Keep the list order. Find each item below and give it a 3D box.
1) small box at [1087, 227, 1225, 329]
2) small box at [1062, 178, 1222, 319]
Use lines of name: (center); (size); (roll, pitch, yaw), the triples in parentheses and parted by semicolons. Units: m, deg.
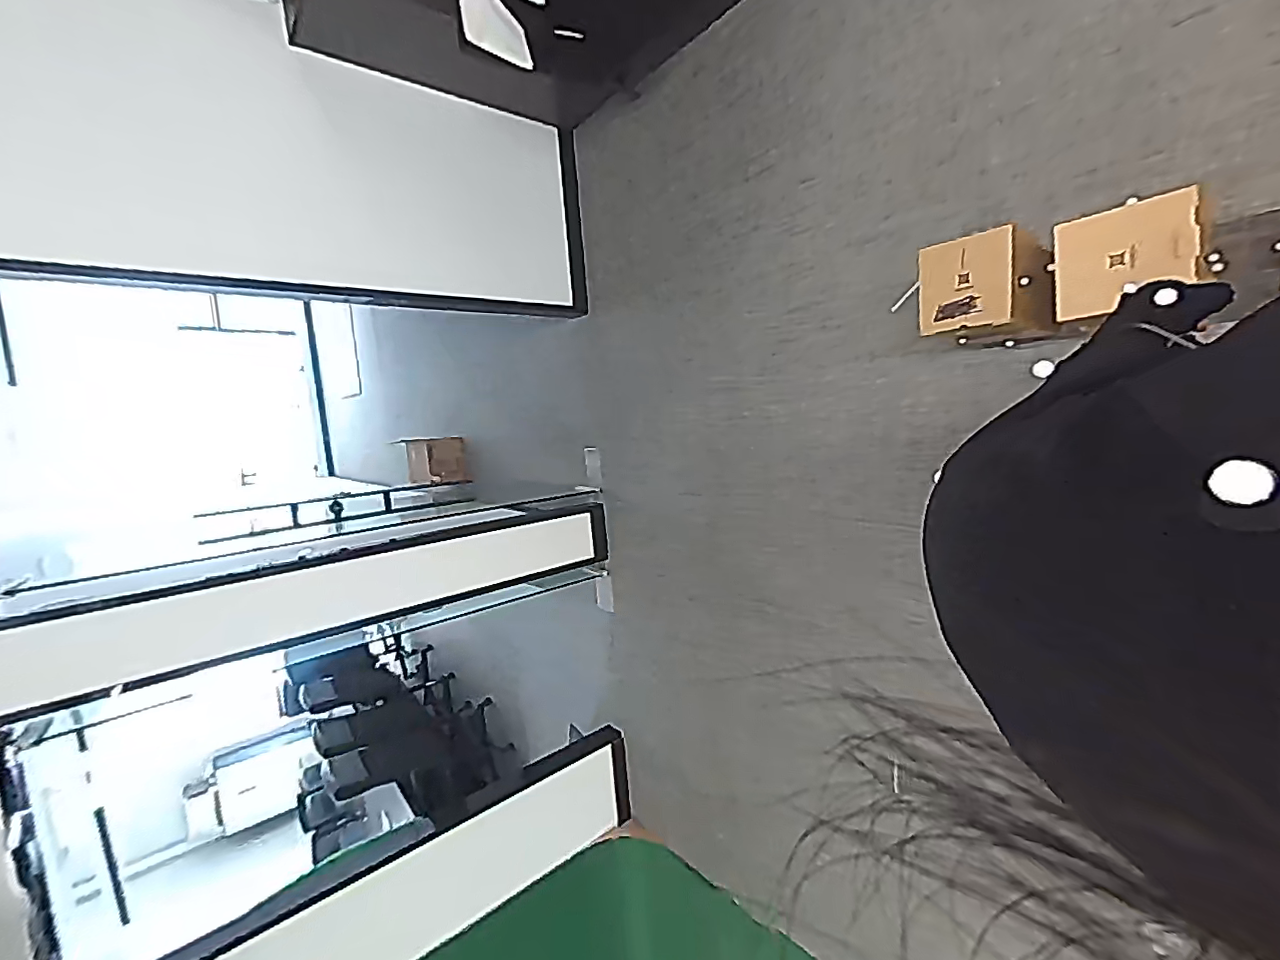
small box: (0.969, -0.391, 1.018); (0.168, 0.176, 0.179); (2, 99, 53)
small box: (0.846, -0.374, 0.913); (0.179, 0.176, 0.168); (0, 98, 51)
